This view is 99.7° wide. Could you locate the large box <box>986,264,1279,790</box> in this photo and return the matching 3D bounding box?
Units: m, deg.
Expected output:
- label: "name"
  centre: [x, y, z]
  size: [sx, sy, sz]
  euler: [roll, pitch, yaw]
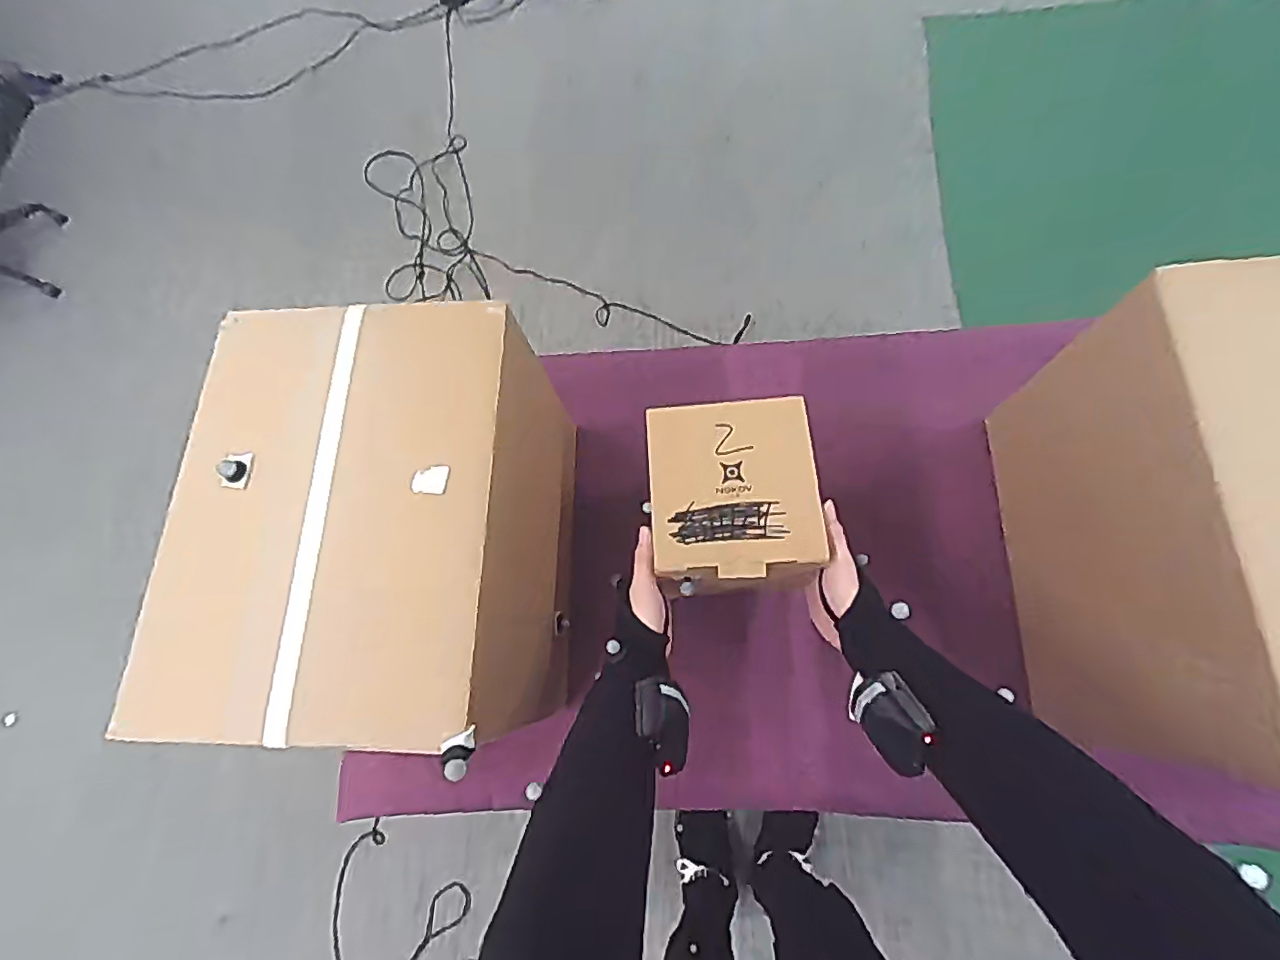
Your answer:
- label: "large box"
  centre: [0.598, 0.054, 0.523]
  size: [0.320, 0.320, 0.408]
  euler: [-1, 73, 8]
